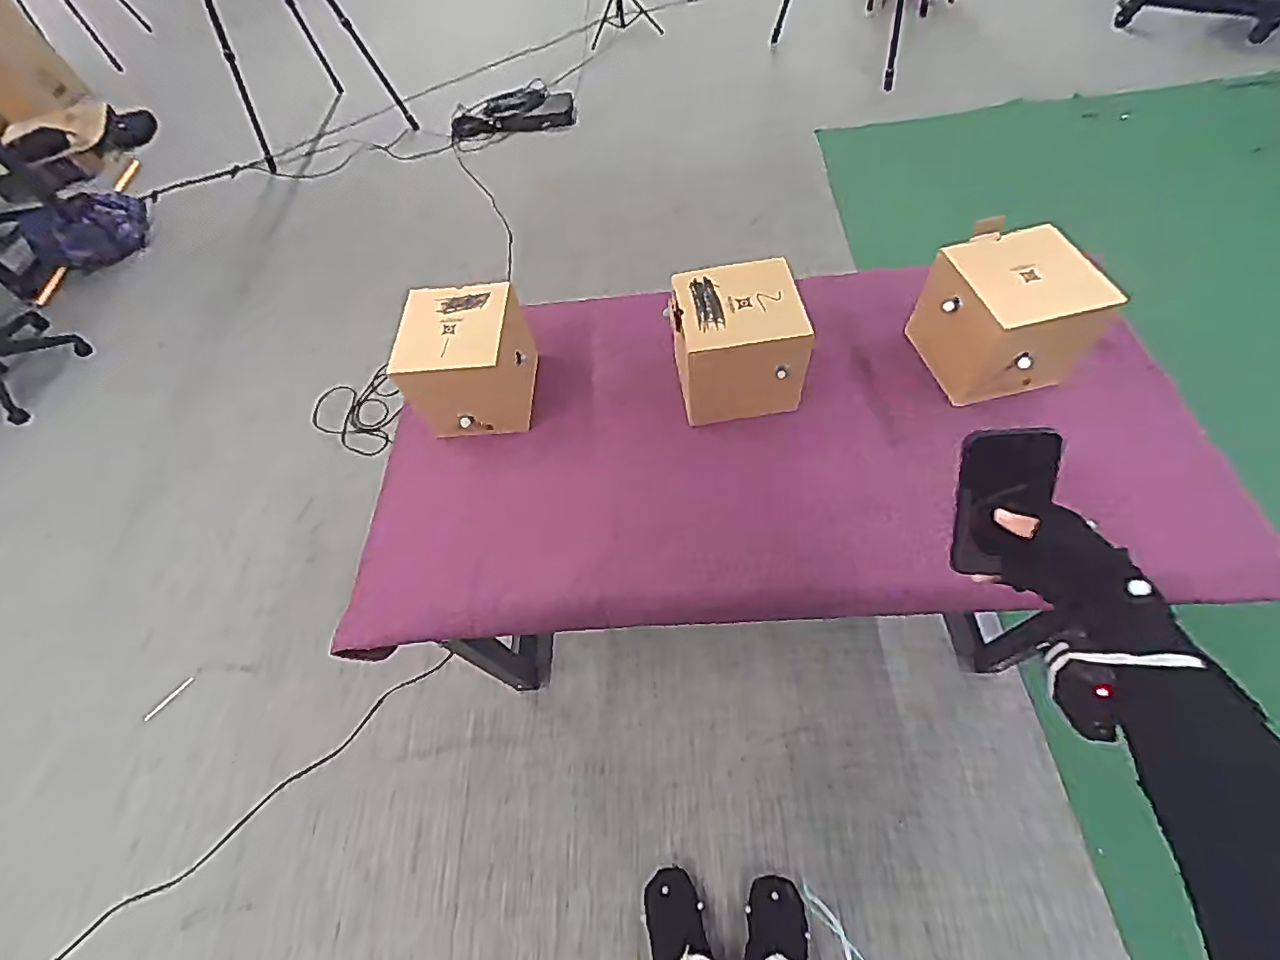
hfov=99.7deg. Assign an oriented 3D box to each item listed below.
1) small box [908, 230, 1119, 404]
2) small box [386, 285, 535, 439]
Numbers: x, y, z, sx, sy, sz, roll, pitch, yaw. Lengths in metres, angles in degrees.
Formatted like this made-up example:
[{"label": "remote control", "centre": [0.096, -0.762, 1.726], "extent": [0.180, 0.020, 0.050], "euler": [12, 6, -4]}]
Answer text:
[{"label": "small box", "centre": [0.535, -0.232, 0.807], "extent": [0.168, 0.176, 0.179], "euler": [-13, 58, 0]}, {"label": "small box", "centre": [-0.276, -0.186, 0.876], "extent": [0.168, 0.176, 0.179], "euler": [-3, 60, 5]}]
